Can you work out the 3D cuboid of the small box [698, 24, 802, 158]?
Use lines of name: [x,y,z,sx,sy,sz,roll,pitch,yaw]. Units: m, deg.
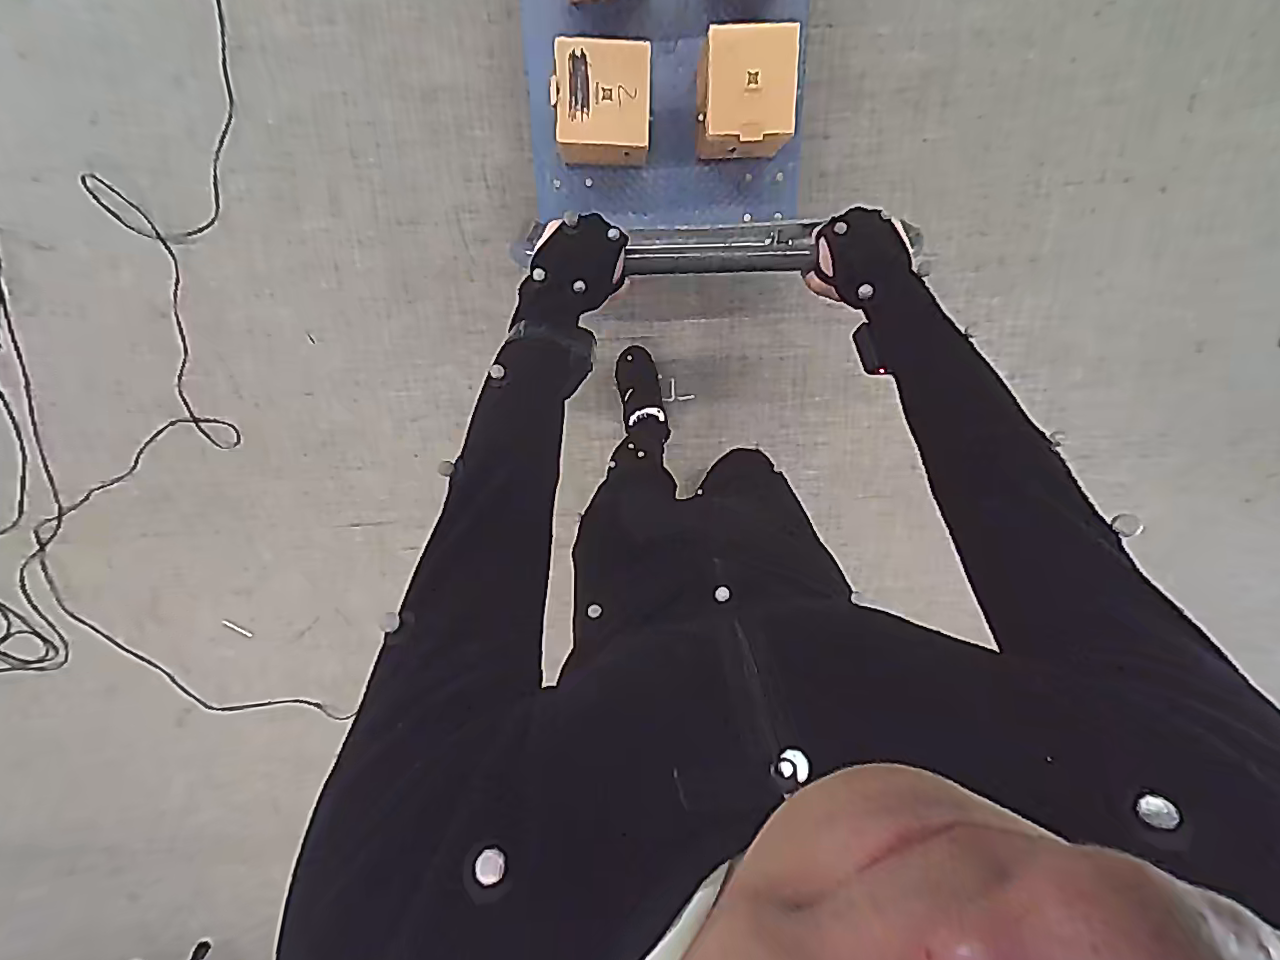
small box: [0.208,-0.756,1.067,0.168,0.176,0.179,-2,109,-1]
